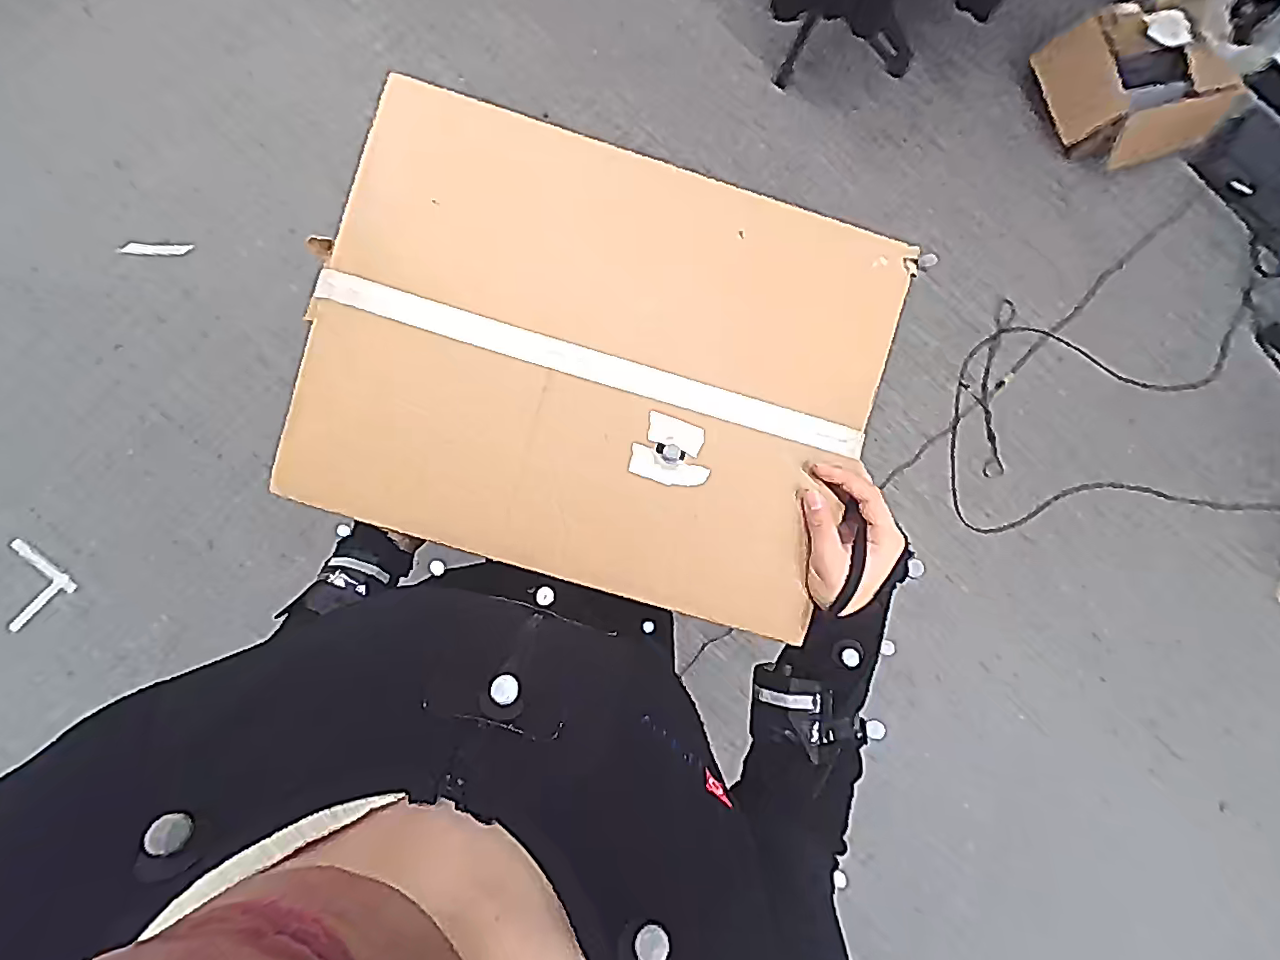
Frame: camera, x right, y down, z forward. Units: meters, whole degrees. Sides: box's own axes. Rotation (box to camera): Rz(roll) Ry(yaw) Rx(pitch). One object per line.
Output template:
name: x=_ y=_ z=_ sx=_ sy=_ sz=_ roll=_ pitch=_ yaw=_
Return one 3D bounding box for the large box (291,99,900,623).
large box: x=-0.038 y=-0.086 z=0.552 sx=0.408 sy=0.320 sz=0.320 roll=15 pitch=91 yaw=-4
